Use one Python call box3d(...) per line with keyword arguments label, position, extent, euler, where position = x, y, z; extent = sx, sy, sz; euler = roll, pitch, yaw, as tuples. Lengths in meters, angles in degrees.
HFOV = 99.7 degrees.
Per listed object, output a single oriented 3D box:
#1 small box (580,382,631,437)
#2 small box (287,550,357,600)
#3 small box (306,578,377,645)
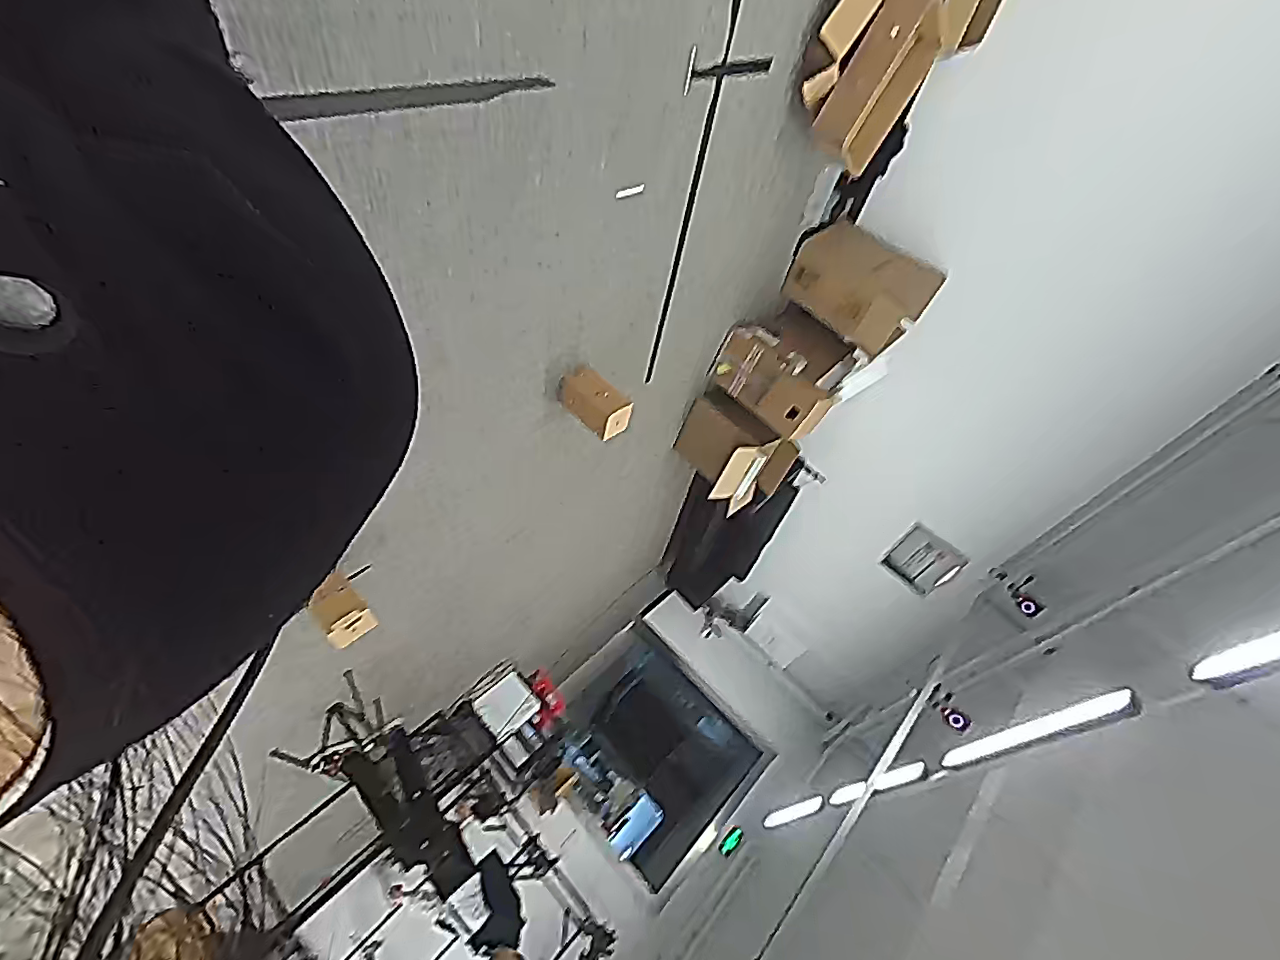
box3d(label="small box", position=(-0.174, -0.347, 2.641), extent=(0.168, 0.176, 0.179), euler=(-34, 155, -36))
box3d(label="small box", position=(-1.302, 0.412, 2.214), extent=(0.168, 0.176, 0.179), euler=(-36, 158, -28))
box3d(label="small box", position=(-1.190, 0.519, 2.155), extent=(0.168, 0.176, 0.179), euler=(-36, 158, -29))
